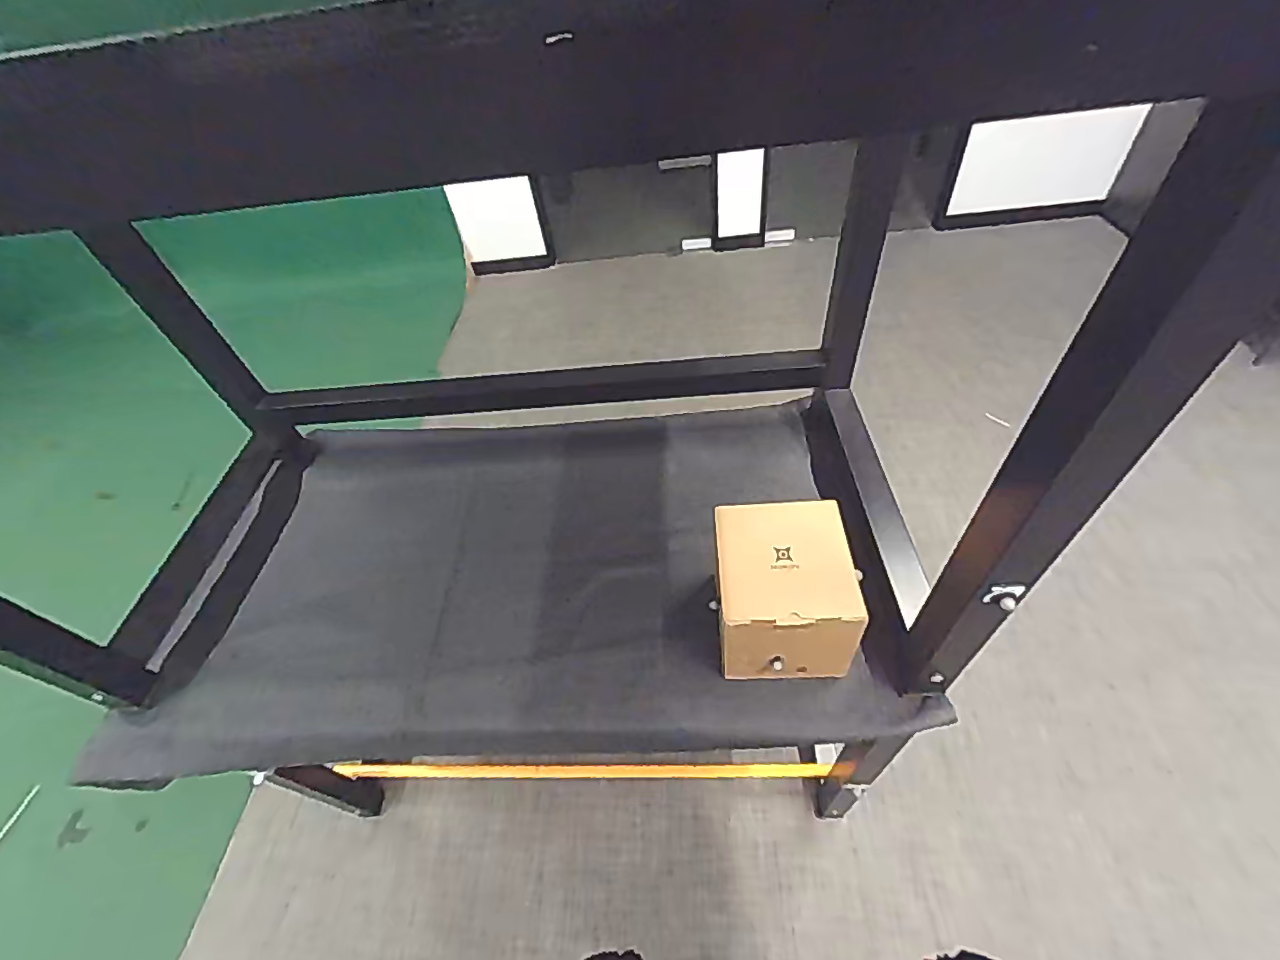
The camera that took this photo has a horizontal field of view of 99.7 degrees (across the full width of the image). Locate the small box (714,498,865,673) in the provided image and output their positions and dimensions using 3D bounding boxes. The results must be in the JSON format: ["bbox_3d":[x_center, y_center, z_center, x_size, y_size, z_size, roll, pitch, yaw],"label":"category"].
[{"bbox_3d":[0.187,0.145,0.736,0.168,0.176,0.179,-4,48,6],"label":"small box"}]
